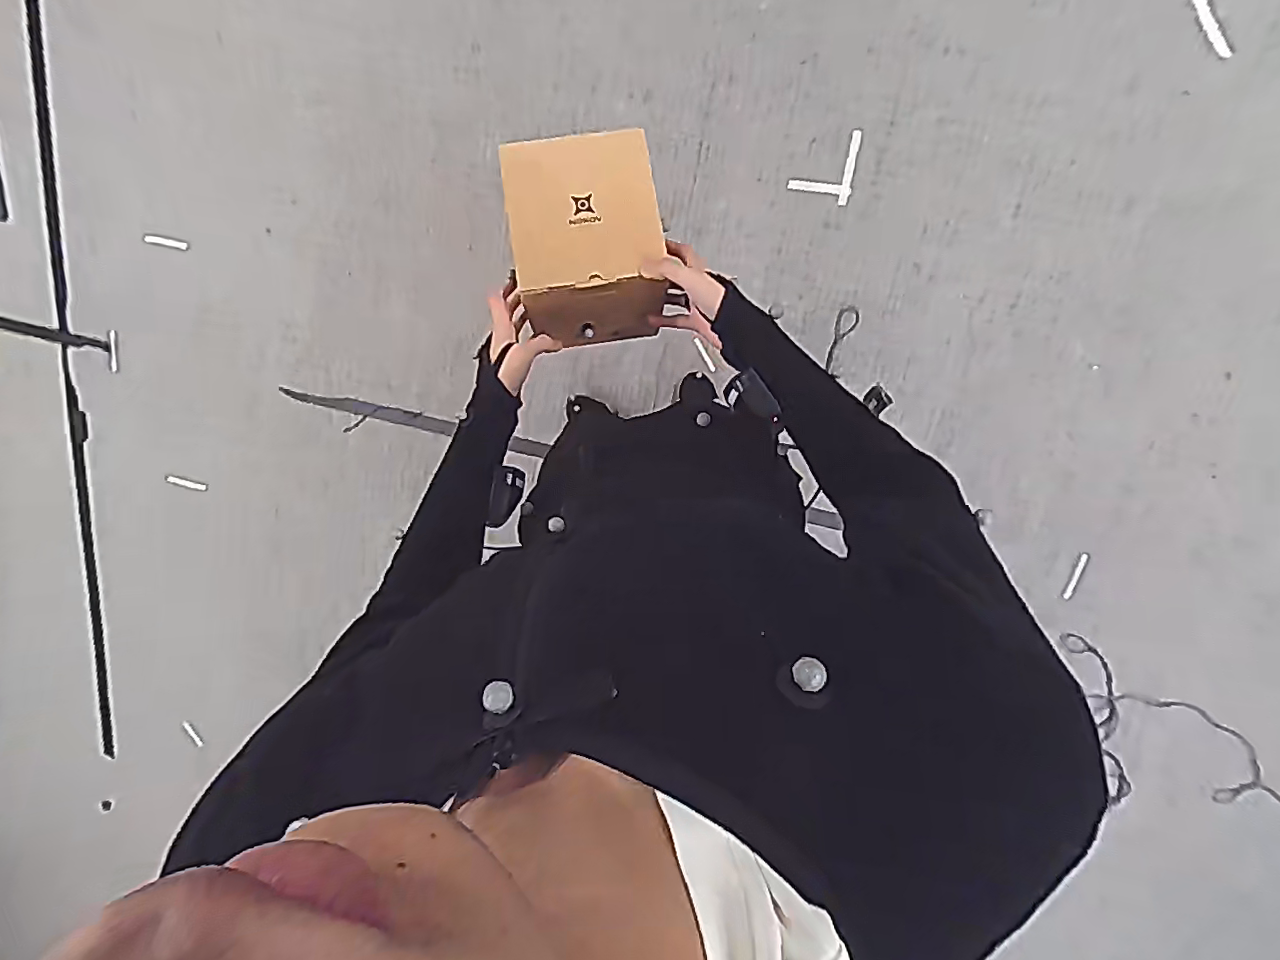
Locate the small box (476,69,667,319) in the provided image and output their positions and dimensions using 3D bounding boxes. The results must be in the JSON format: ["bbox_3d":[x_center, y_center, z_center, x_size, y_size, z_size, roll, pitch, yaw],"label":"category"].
[{"bbox_3d":[-0.072,-0.300,0.595,0.168,0.176,0.179,-9,85,-5],"label":"small box"}]
